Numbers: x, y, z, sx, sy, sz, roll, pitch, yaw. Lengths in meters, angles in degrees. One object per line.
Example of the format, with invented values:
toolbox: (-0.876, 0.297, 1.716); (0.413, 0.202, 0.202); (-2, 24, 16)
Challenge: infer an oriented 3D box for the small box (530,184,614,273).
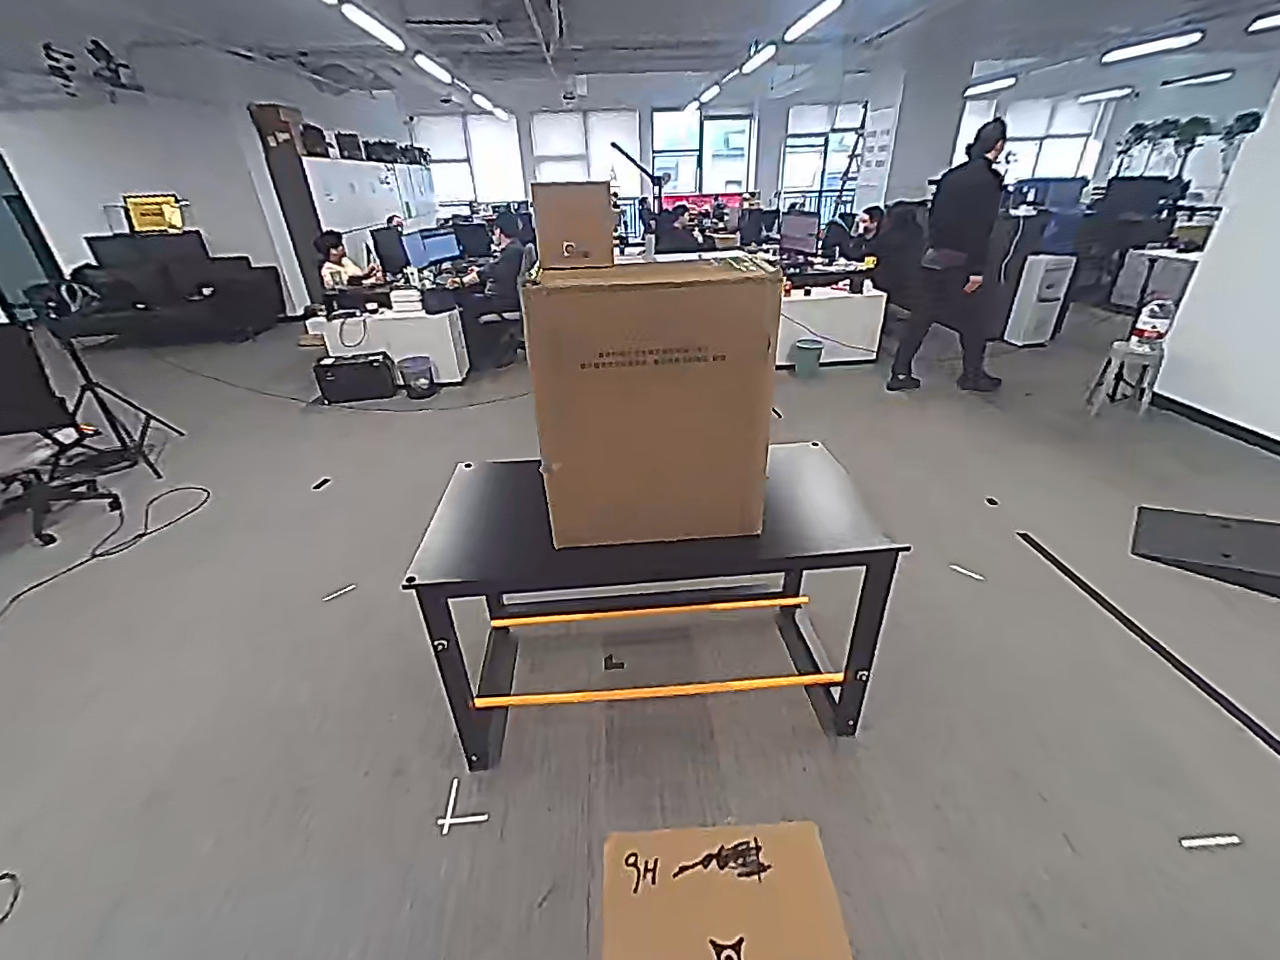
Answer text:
small box: (-0.148, -0.562, 1.211); (0.168, 0.176, 0.179); (-6, 29, -4)

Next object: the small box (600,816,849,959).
small box: (0.058, 0.380, 0.402); (0.168, 0.176, 0.179); (-3, 40, -1)
